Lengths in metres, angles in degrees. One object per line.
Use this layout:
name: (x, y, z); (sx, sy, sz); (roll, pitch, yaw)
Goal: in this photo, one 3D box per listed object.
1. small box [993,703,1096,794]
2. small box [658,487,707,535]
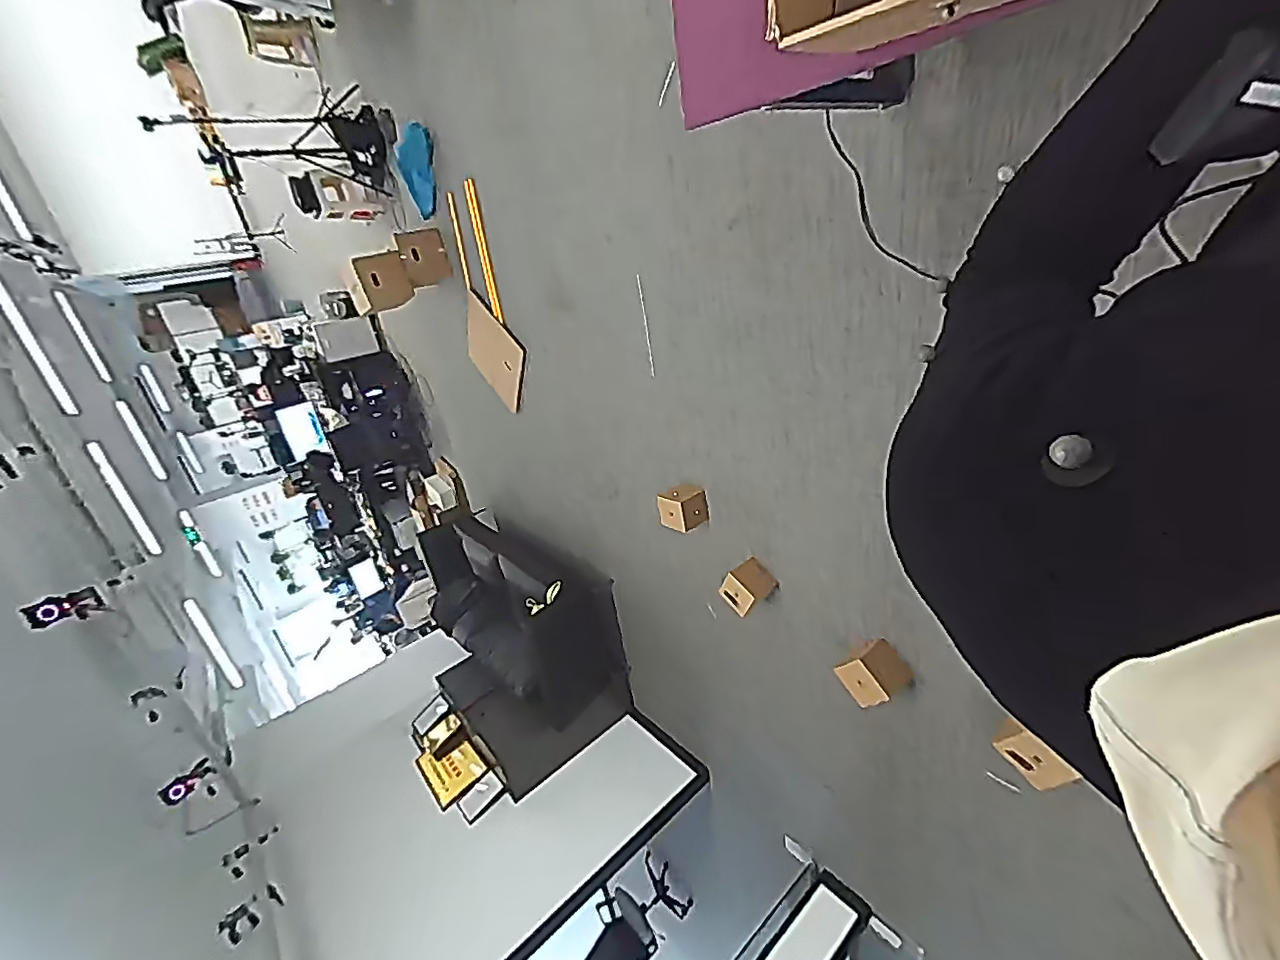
small box: (1.256, 0.829, 1.677); (0.168, 0.176, 0.179); (47, 143, 24)
small box: (0.216, 0.148, 2.678); (0.179, 0.176, 0.168); (15, 123, 50)
